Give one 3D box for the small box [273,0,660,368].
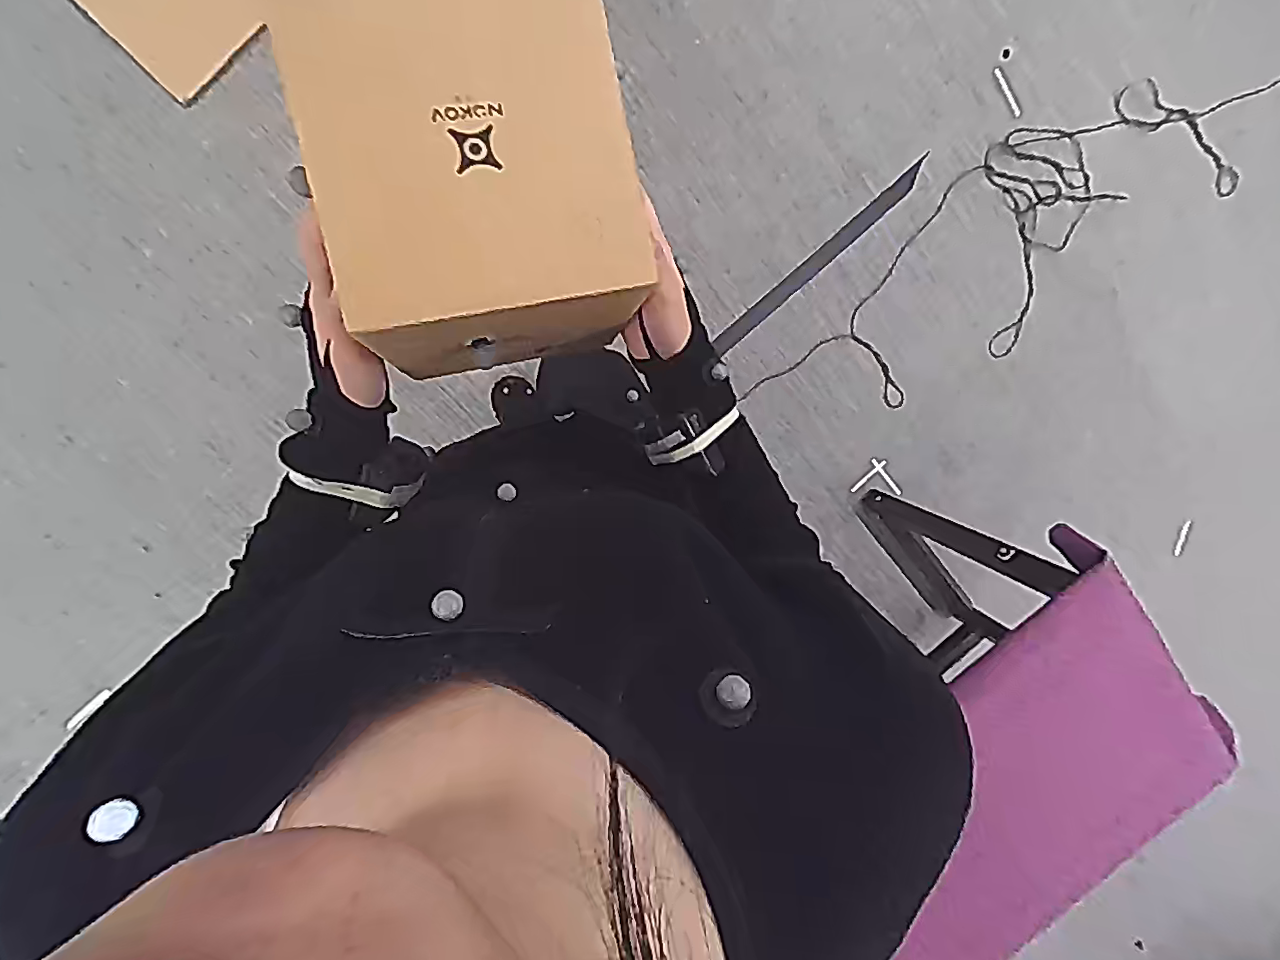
[{"bbox_3d":[-0.098,-0.178,0.355,0.168,0.176,0.179,-13,93,-11],"label":"small box"}]
